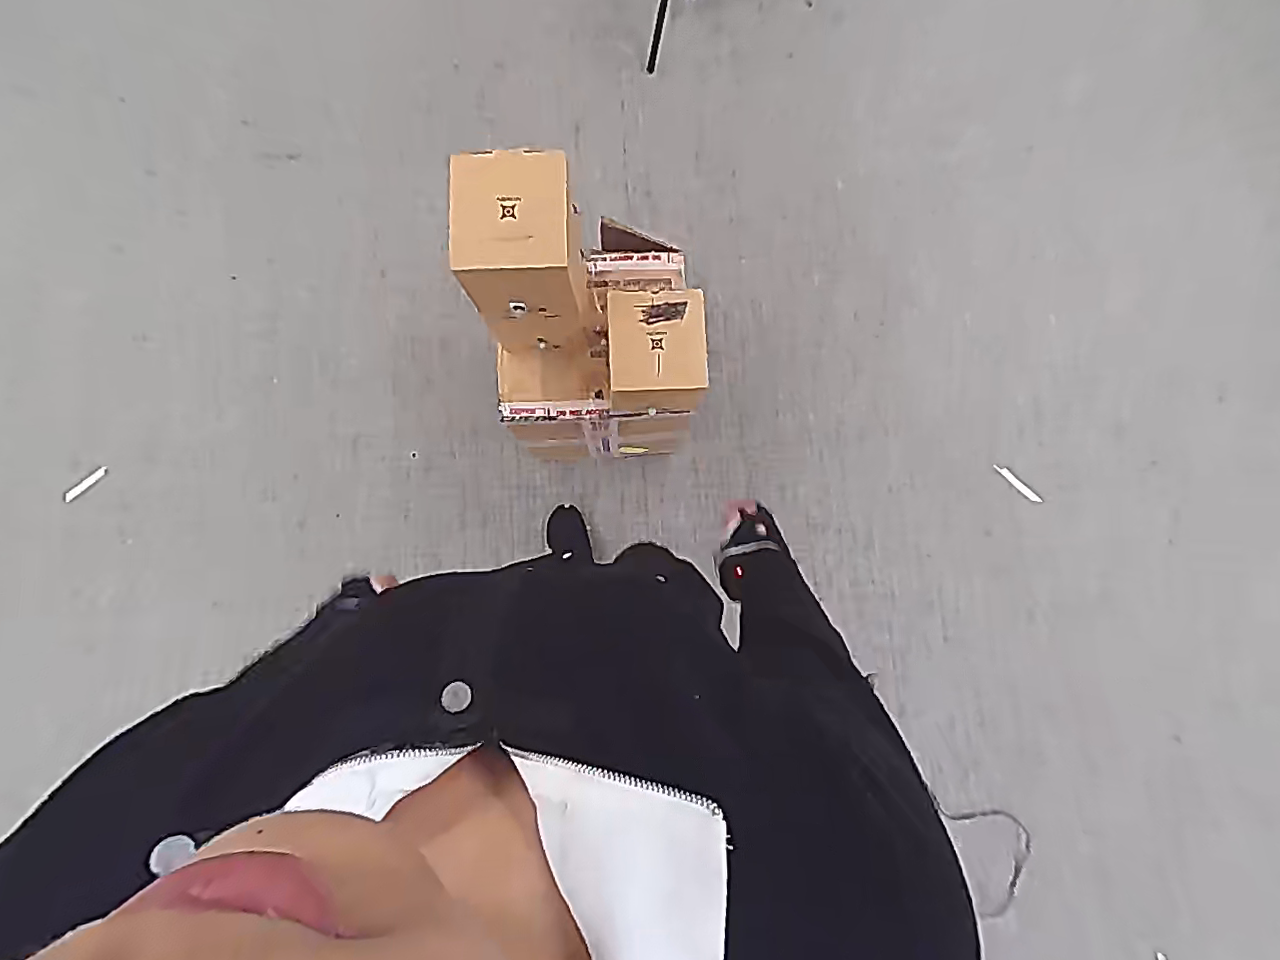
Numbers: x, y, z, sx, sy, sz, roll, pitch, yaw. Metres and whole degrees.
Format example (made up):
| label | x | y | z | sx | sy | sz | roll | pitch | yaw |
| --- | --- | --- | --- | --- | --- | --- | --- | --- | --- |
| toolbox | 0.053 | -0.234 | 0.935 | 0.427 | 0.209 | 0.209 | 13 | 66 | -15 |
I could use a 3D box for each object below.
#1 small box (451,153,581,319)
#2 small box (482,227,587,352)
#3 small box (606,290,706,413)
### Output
| label | x | y | z | sx | sy | sz | roll | pitch | yaw |
| --- | --- | --- | --- | --- | --- | --- | --- | --- | --- |
| small box | -0.183 | -0.366 | 0.834 | 0.168 | 0.176 | 0.179 | -2 | 85 | 0 |
| small box | -0.188 | -0.349 | 0.995 | 0.168 | 0.176 | 0.179 | -2 | 84 | -1 |
| small box | 0.023 | -0.227 | 0.990 | 0.168 | 0.176 | 0.179 | -2 | 85 | -3 |
